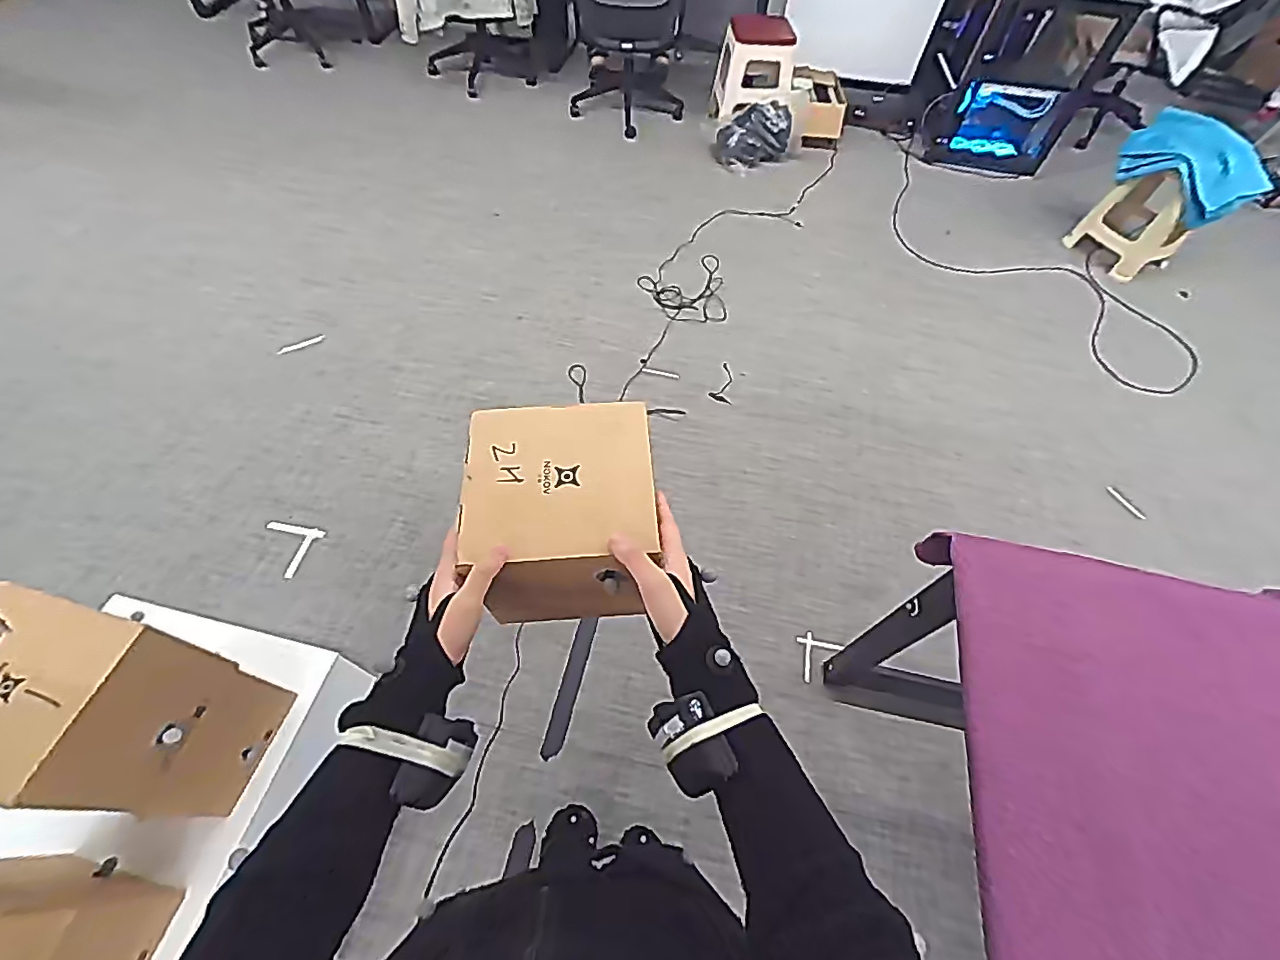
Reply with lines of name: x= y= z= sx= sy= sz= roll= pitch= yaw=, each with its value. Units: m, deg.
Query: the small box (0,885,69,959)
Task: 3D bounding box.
small box: x=-0.656 y=0.435 z=0.438 sx=0.179 sy=0.176 sz=0.168 roll=11 pitch=58 yaw=5

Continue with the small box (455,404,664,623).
small box: x=-0.071 y=0.040 z=0.558 sx=0.179 sy=0.176 sz=0.168 roll=-4 pitch=57 yaw=-1

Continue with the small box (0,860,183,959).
small box: x=-0.664 y=0.523 z=0.574 sx=0.179 sy=0.176 sz=0.168 roll=12 pitch=58 yaw=6

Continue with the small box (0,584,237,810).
small box: x=-0.591 y=0.233 z=0.568 sx=0.179 sy=0.176 sz=0.168 roll=14 pitch=59 yaw=5
